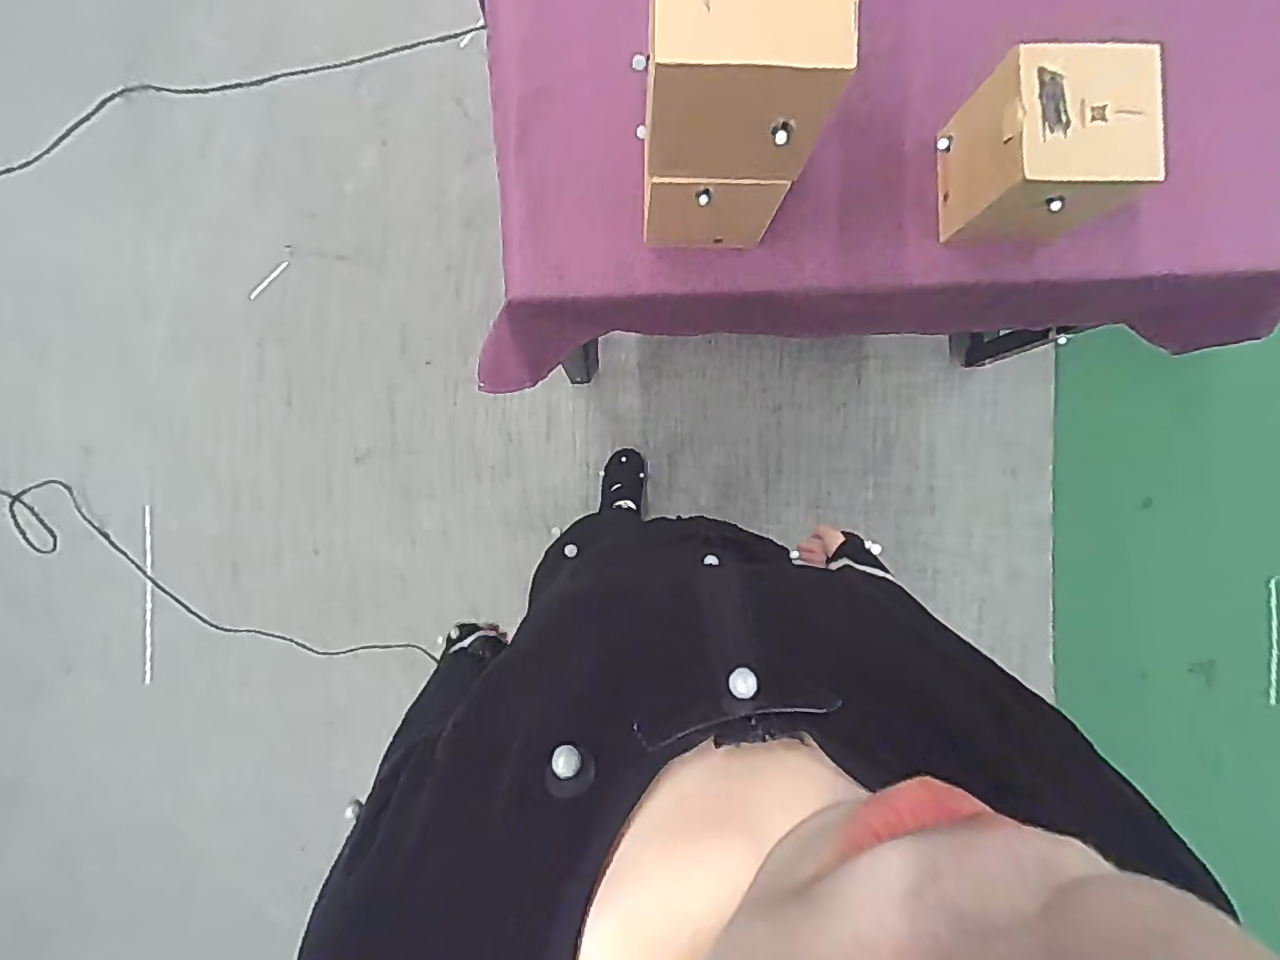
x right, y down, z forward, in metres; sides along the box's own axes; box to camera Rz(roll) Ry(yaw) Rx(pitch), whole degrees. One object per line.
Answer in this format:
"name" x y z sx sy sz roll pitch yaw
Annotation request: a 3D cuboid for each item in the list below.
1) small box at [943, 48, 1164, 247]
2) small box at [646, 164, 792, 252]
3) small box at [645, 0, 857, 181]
"small box" 0.529 -0.425 0.717 0.179 0.176 0.168 -1 89 -2
"small box" 0.093 -0.423 0.706 0.168 0.176 0.179 0 88 -1
"small box" 0.098 -0.426 0.542 0.179 0.176 0.168 1 89 -1
